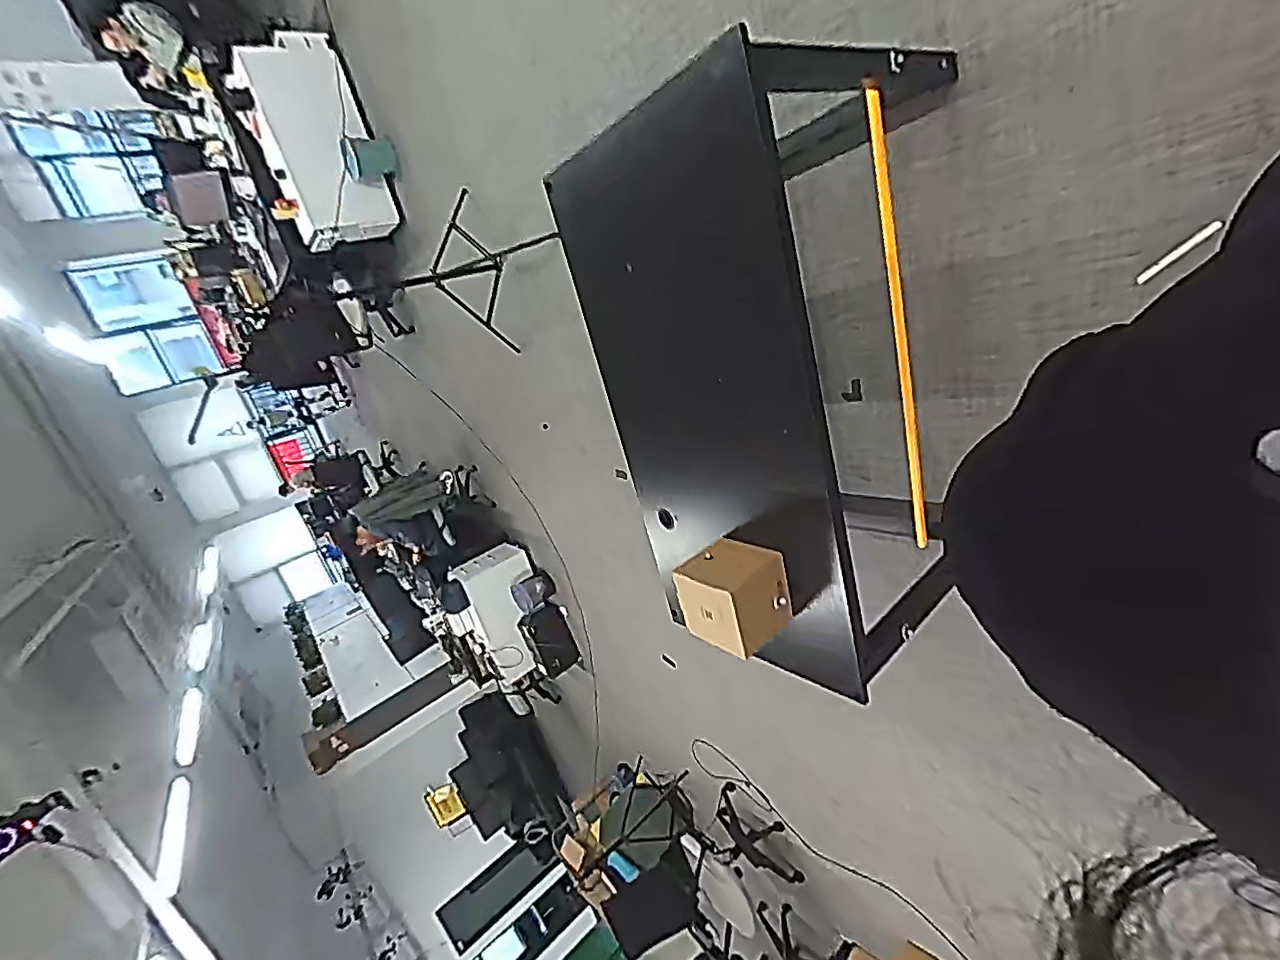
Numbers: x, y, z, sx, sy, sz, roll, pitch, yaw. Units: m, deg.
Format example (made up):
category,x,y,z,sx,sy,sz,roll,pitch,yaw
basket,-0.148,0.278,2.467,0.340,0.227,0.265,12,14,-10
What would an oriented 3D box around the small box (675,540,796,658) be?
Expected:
category,x,y,z,sx,sy,sz,roll,pitch,yaw
small box,0.208,0.246,1.171,0.179,0.176,0.168,9,122,51
